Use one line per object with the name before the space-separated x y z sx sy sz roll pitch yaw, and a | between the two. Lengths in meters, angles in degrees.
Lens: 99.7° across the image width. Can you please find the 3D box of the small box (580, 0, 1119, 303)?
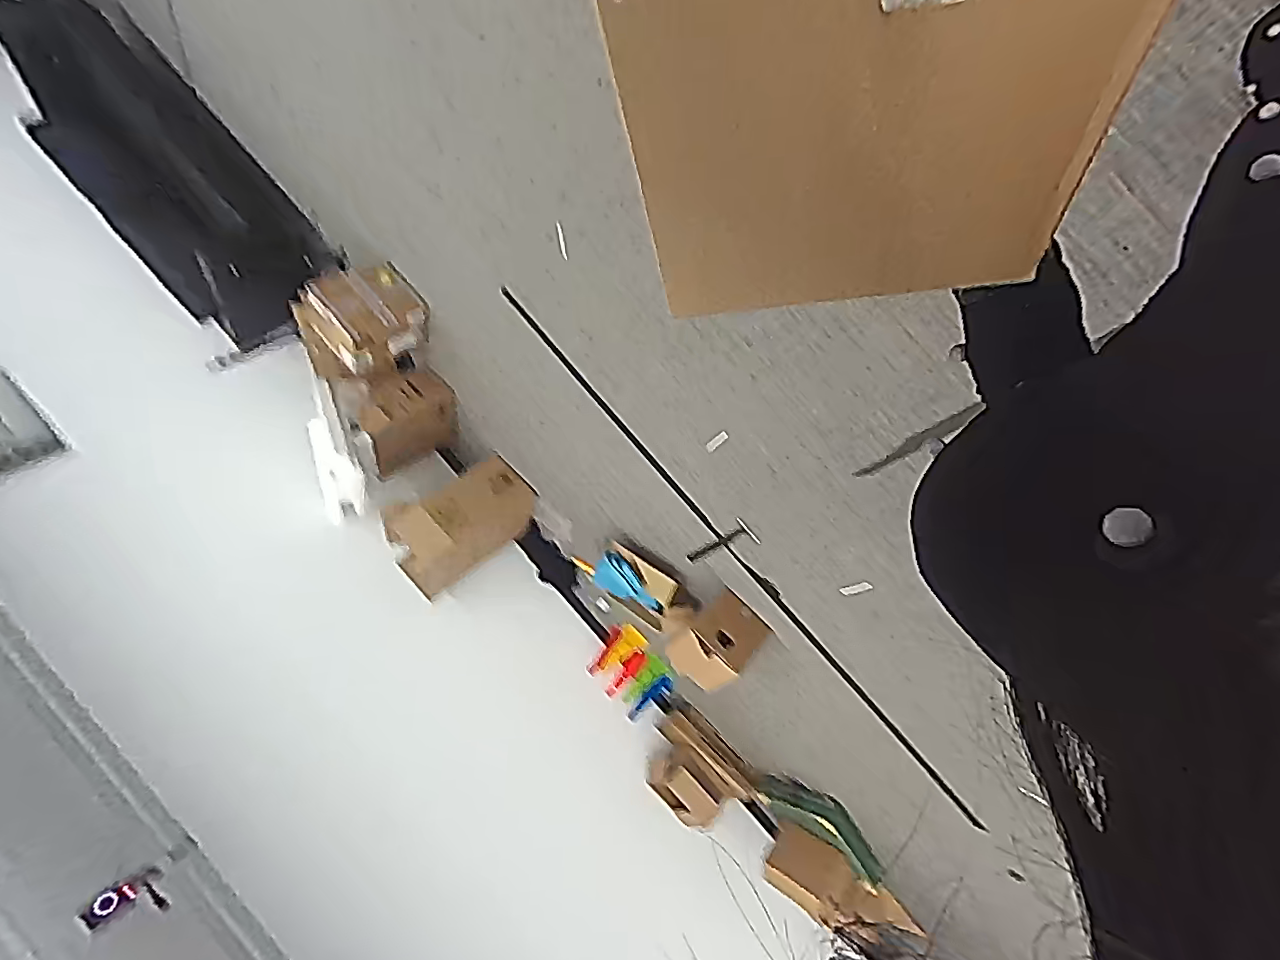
small box | 0.077 -0.206 0.221 0.168 0.179 0.176 -2 152 16
